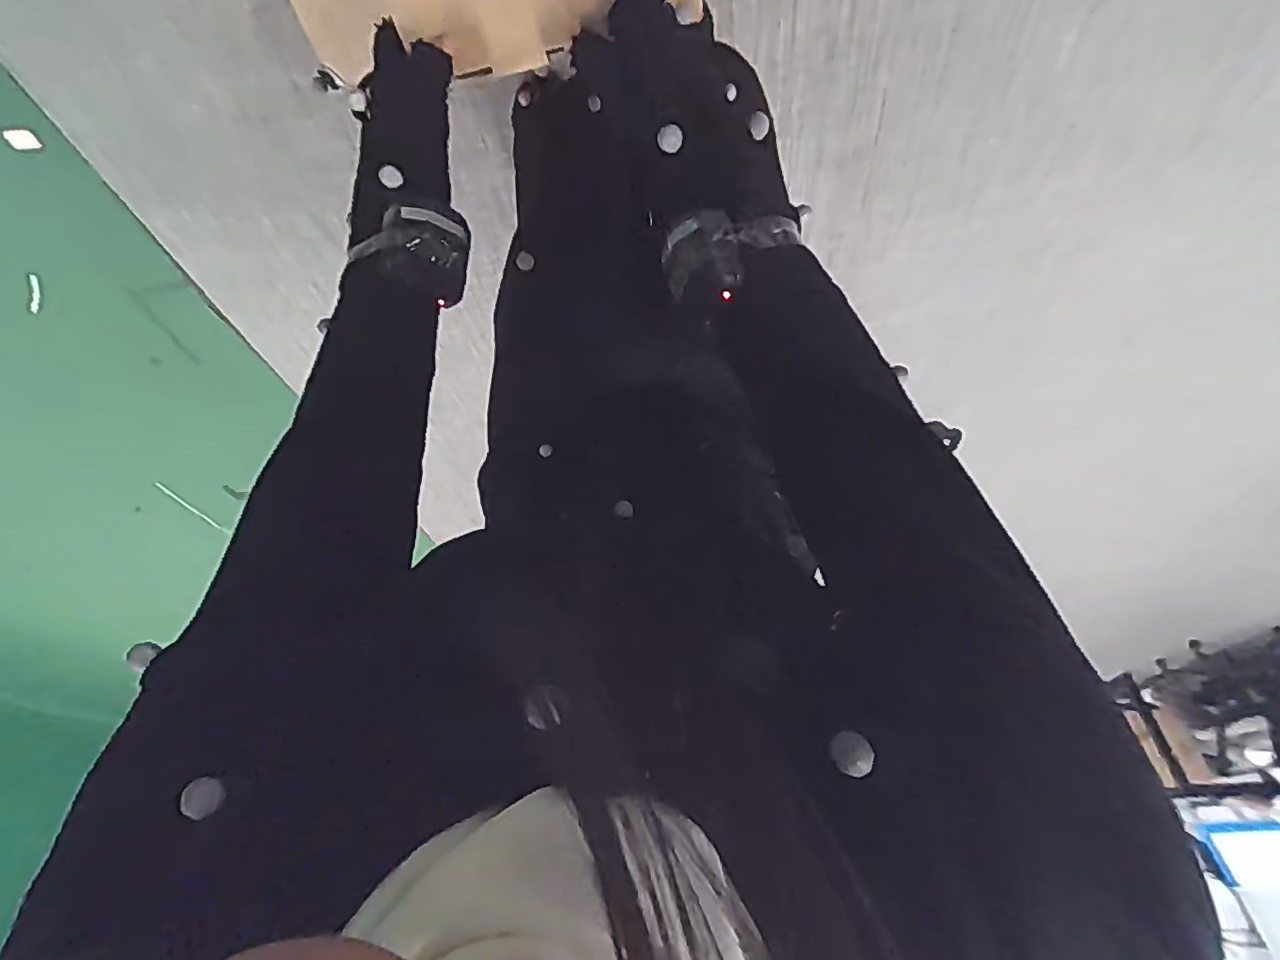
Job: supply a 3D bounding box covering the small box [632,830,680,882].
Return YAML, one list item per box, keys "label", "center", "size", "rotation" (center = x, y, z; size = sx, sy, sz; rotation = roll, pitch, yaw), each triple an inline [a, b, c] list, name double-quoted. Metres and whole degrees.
- label: "small box"
  center: [0.063, 1.542, 2.216]
  size: [0.179, 0.176, 0.168]
  rotation: [-8, 144, 6]

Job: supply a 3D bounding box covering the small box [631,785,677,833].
- label: "small box"
  center: [0.059, 1.406, 2.309]
  size: [0.179, 0.176, 0.168]
  rotation: [-5, 144, 6]
